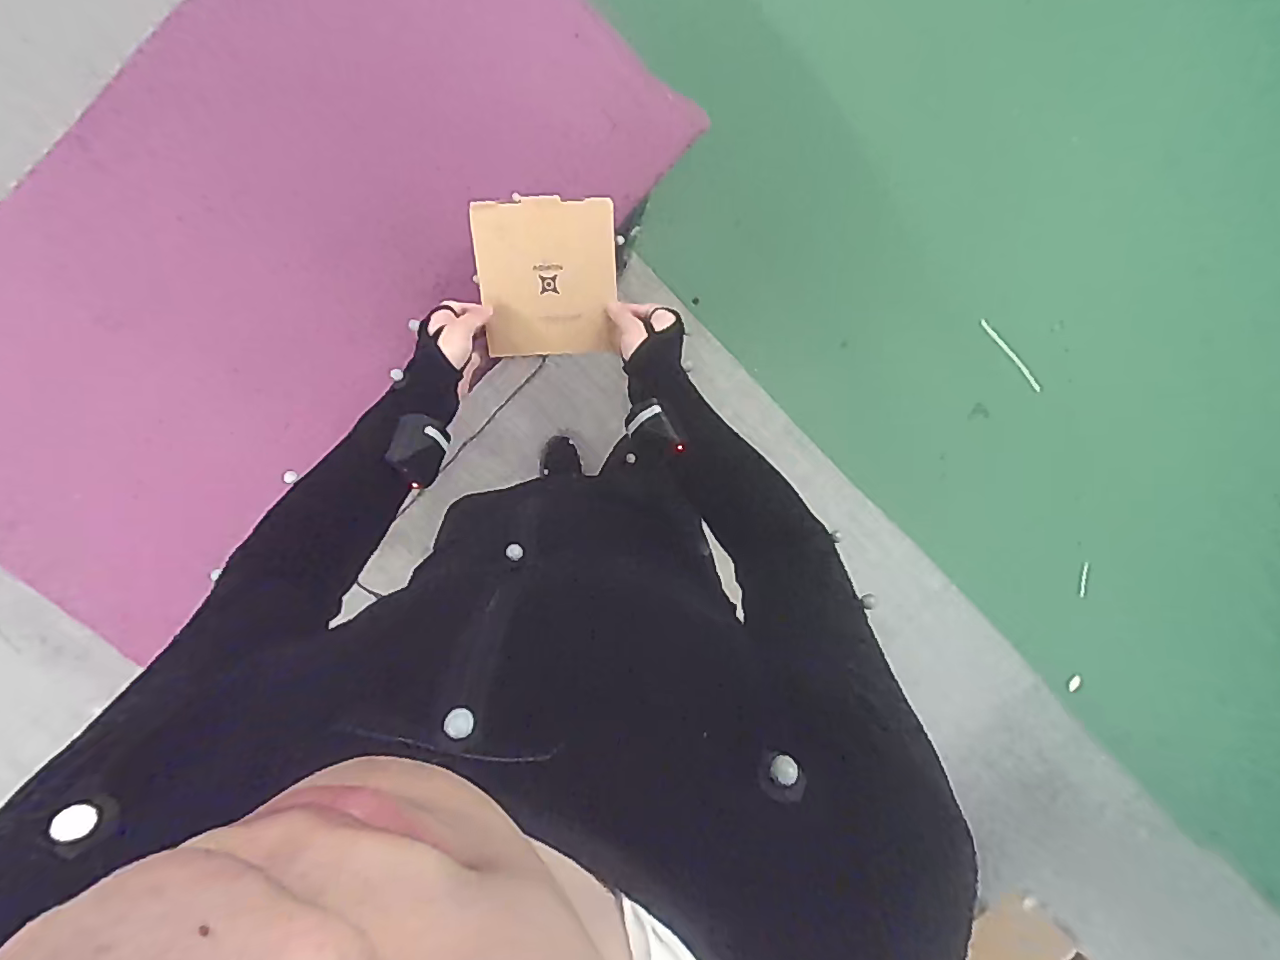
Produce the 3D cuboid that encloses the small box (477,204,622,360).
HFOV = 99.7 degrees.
[{"bbox_3d":[-0.112,-0.262,0.723,0.168,0.176,0.179,-3,112,-4],"label":"small box"}]
